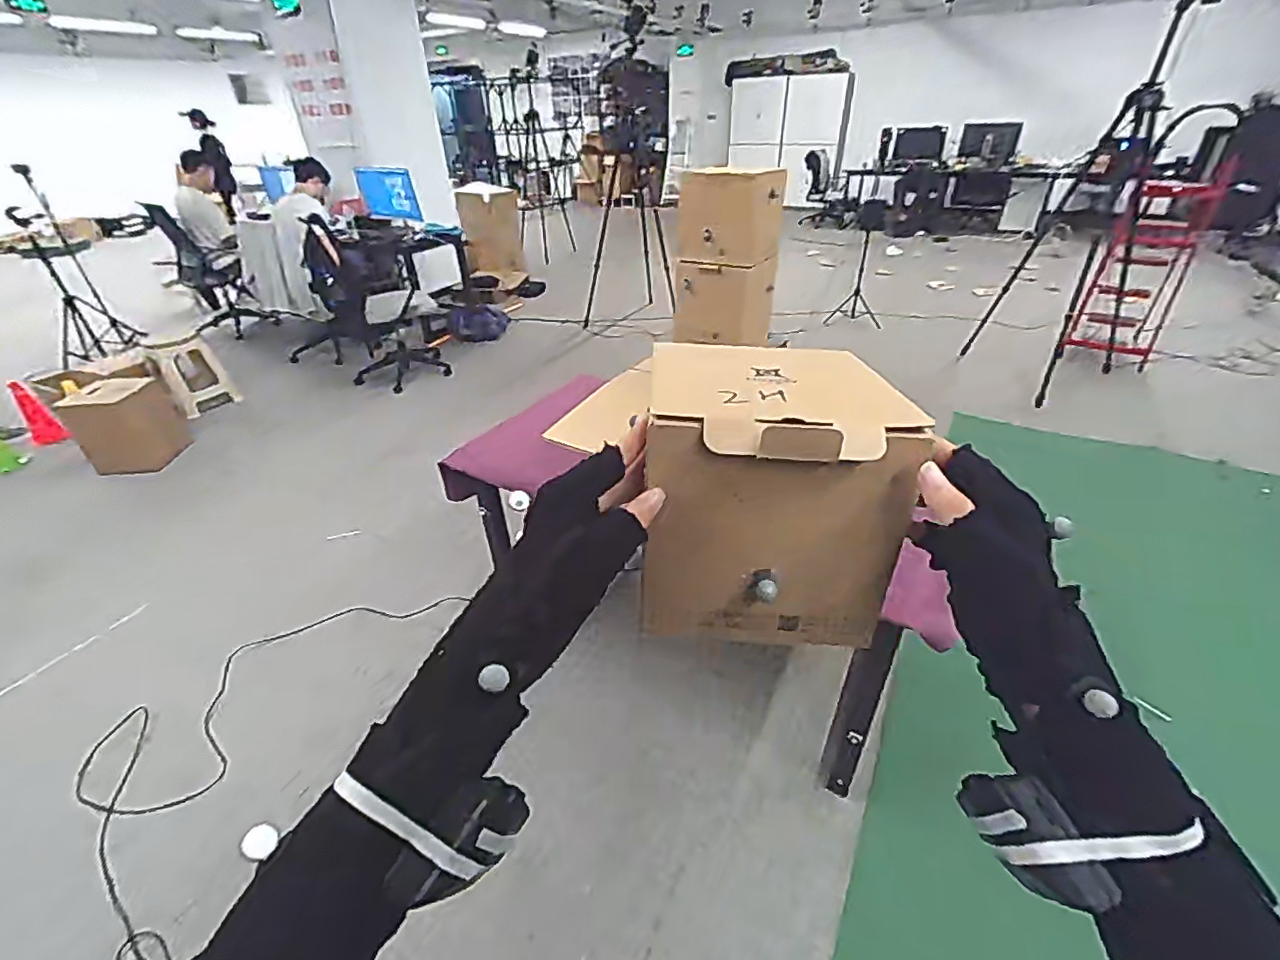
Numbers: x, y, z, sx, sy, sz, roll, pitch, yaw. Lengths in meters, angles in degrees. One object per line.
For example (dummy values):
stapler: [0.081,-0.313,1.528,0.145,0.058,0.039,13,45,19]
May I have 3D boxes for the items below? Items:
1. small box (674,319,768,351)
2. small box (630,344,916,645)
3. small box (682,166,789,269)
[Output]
small box: [0.196,-0.275,1.304,0.168,0.176,0.179,18,38,28]
small box: [0.080,0.002,0.425,0.168,0.176,0.179,2,30,1]
small box: [0.193,-0.550,1.126,0.168,0.176,0.179,17,37,26]
